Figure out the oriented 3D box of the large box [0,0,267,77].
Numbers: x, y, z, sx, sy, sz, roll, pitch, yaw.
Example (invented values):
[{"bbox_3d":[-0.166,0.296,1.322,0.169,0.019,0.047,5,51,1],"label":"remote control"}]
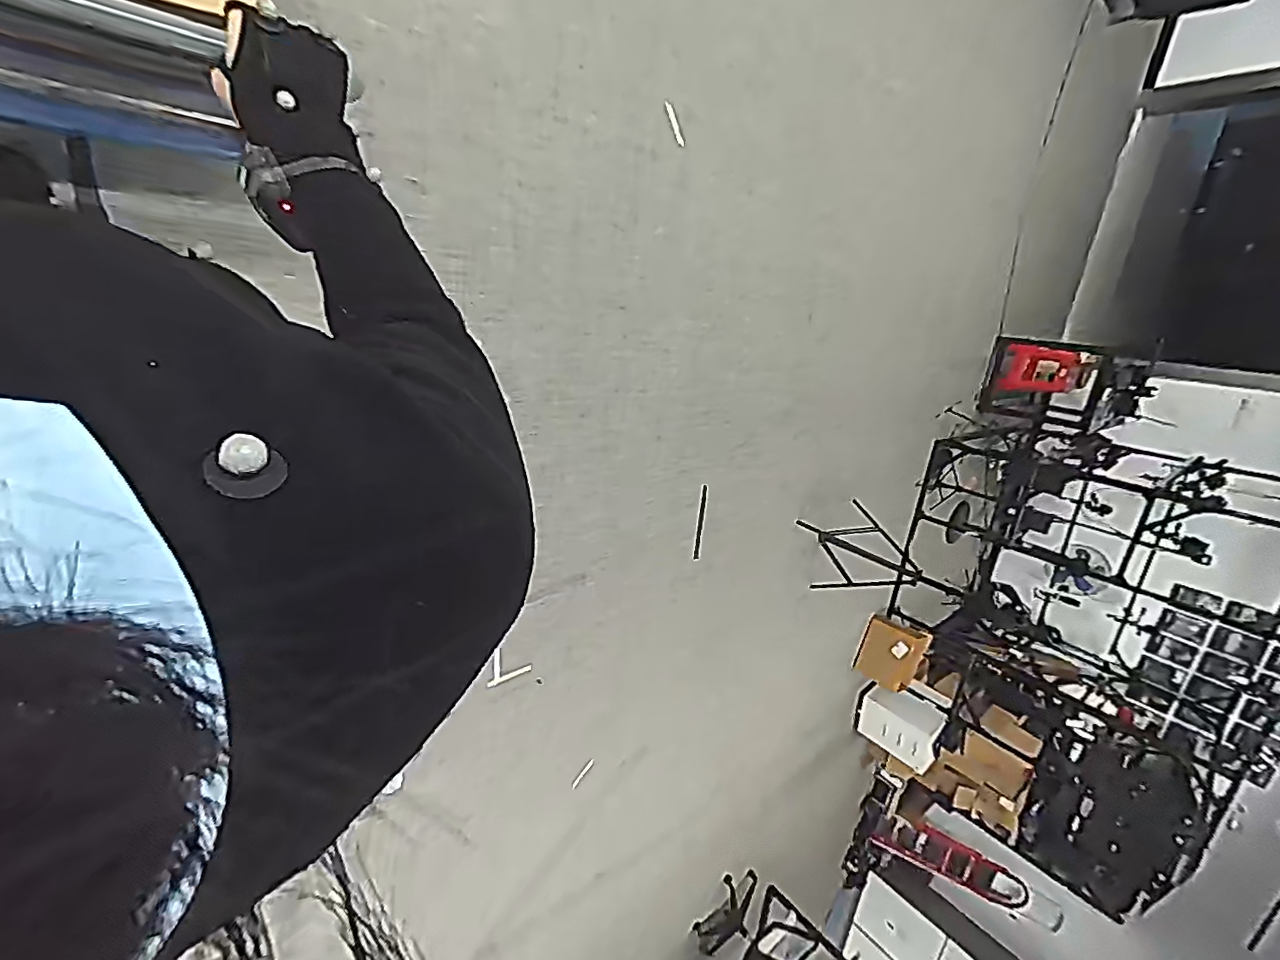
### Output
[{"bbox_3d":[-0.753,-0.755,0.662,0.408,0.320,0.320,-16,118,-40],"label":"large box"}]
